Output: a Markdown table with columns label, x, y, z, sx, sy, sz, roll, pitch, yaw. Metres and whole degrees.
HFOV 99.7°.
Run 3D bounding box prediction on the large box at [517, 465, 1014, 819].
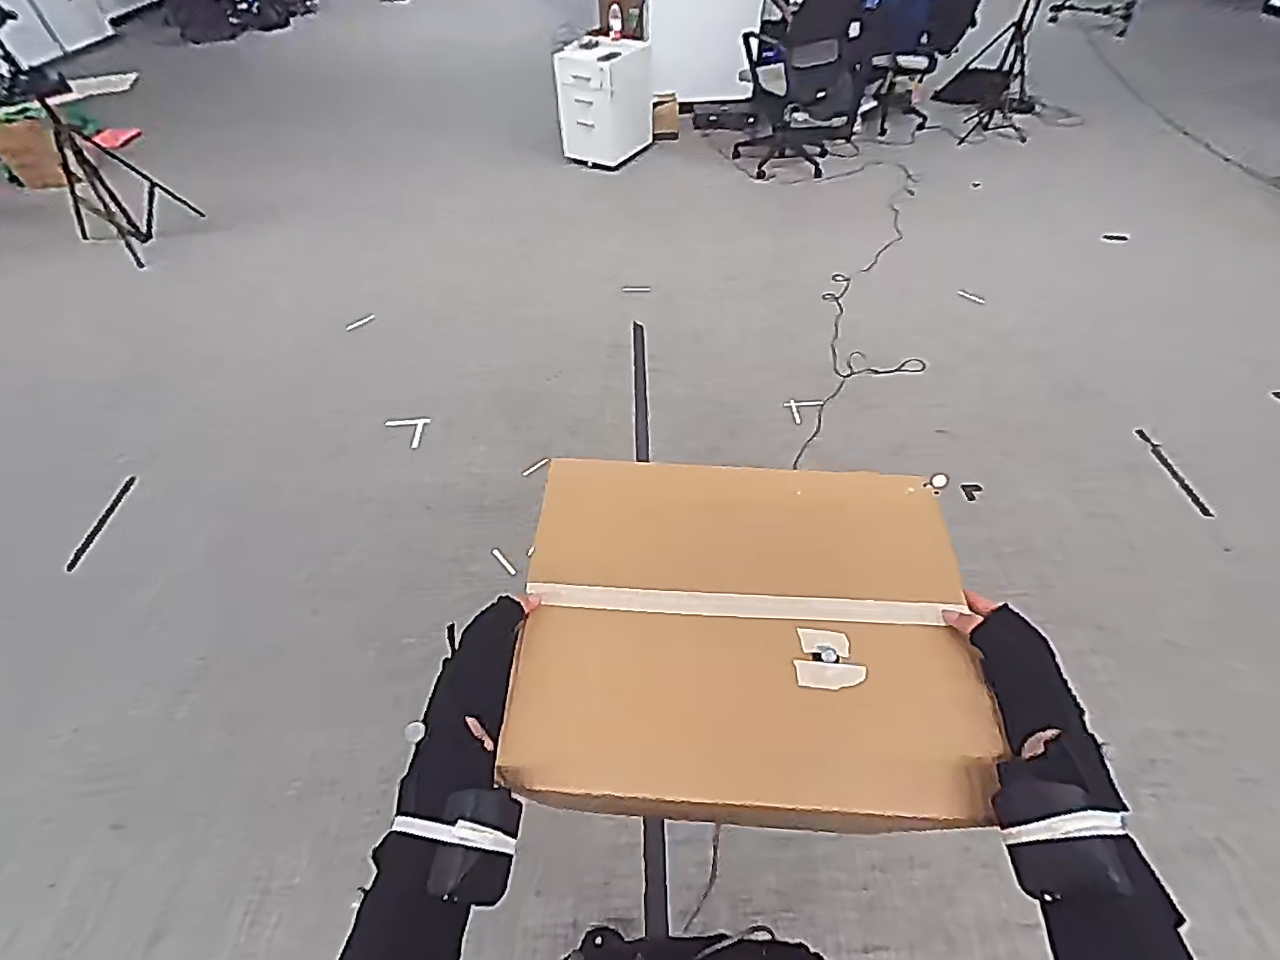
| label | x | y | z | sx | sy | sz | roll | pitch | yaw |
| --- | --- | --- | --- | --- | --- | --- | --- | --- | --- |
| large box | 0.102 | 0.200 | 0.632 | 0.408 | 0.320 | 0.320 | 3 | 57 | 1 |
